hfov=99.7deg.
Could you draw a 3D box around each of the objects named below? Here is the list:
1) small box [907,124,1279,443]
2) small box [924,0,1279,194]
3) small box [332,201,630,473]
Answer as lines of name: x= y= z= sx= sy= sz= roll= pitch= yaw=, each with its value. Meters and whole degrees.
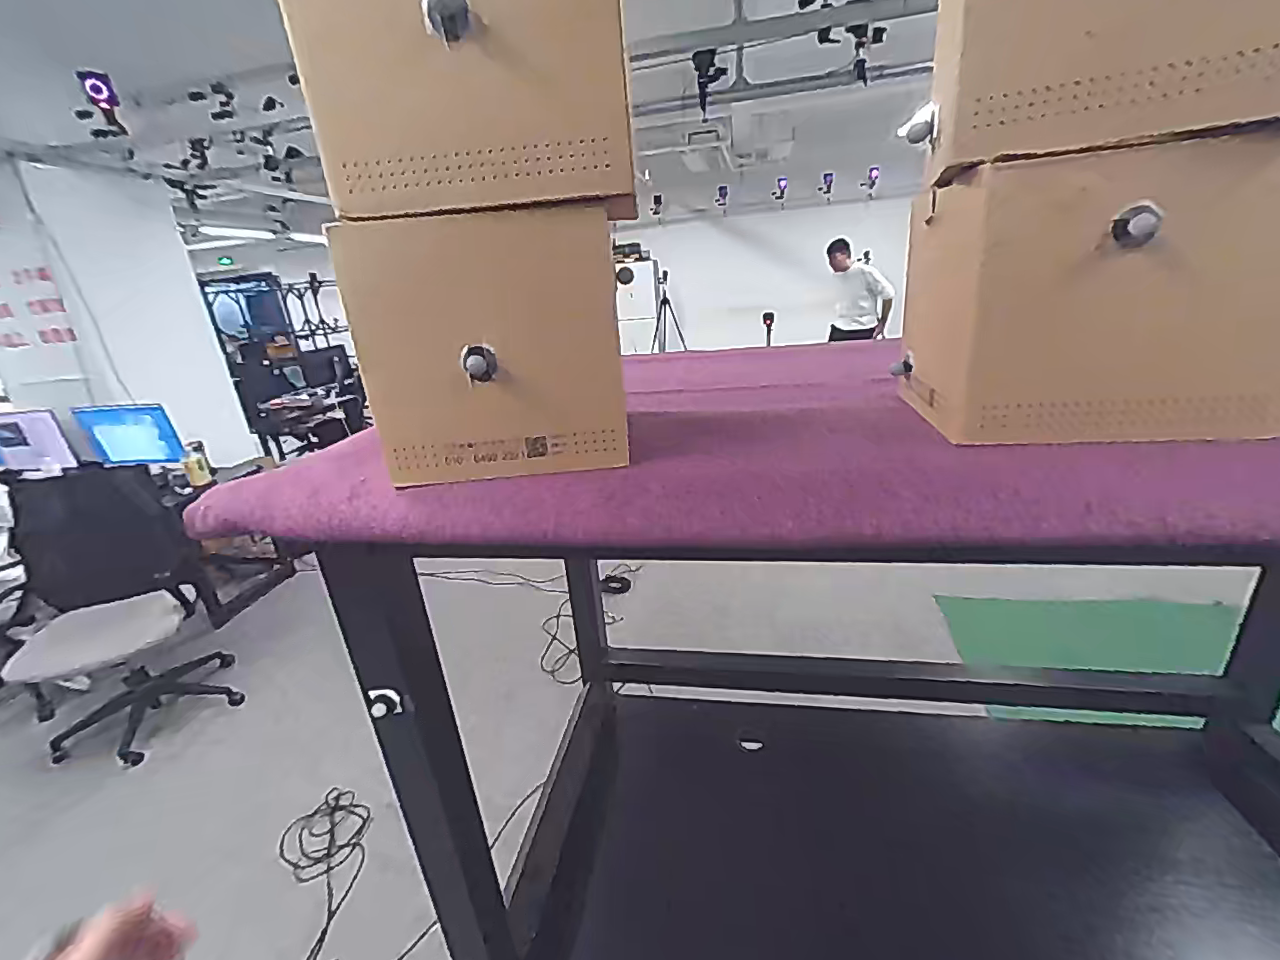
small box: x=0.299 y=-0.126 z=0.380 sx=0.179 sy=0.176 sz=0.168 roll=0 pitch=21 yaw=12
small box: x=0.281 y=-0.277 z=0.323 sx=0.179 sy=0.176 sz=0.168 roll=2 pitch=21 yaw=22
small box: x=-0.096 y=-0.108 z=0.421 sx=0.168 sy=0.176 sz=0.179 roll=-4 pitch=21 yaw=-1
